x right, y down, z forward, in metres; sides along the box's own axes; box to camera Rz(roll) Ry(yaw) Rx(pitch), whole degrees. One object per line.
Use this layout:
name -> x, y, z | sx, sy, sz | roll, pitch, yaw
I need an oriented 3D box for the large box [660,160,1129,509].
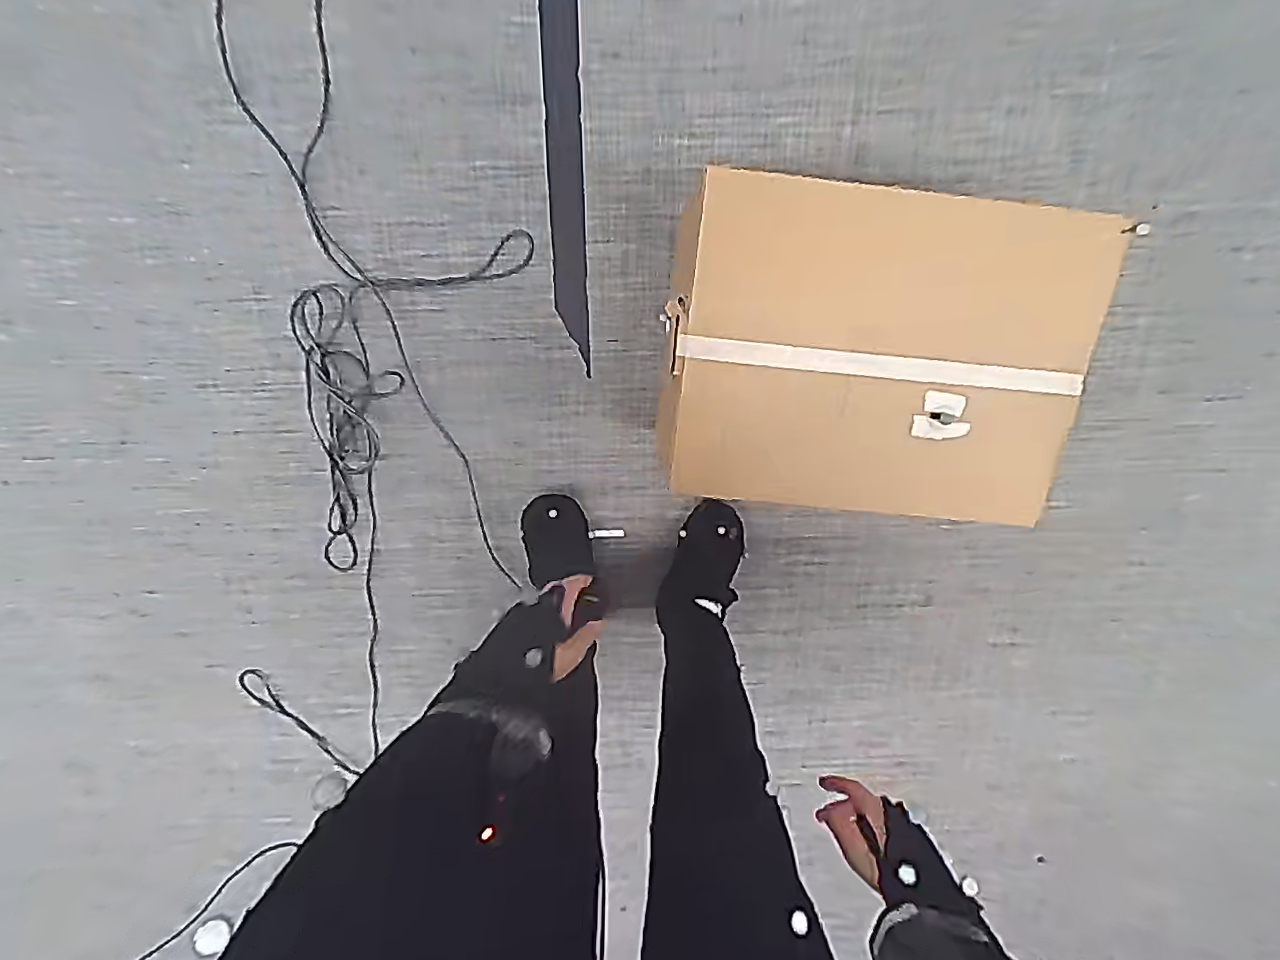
large box -> 0.243, -0.168, 0.678 | 0.408, 0.320, 0.320 | 5, 107, -3
